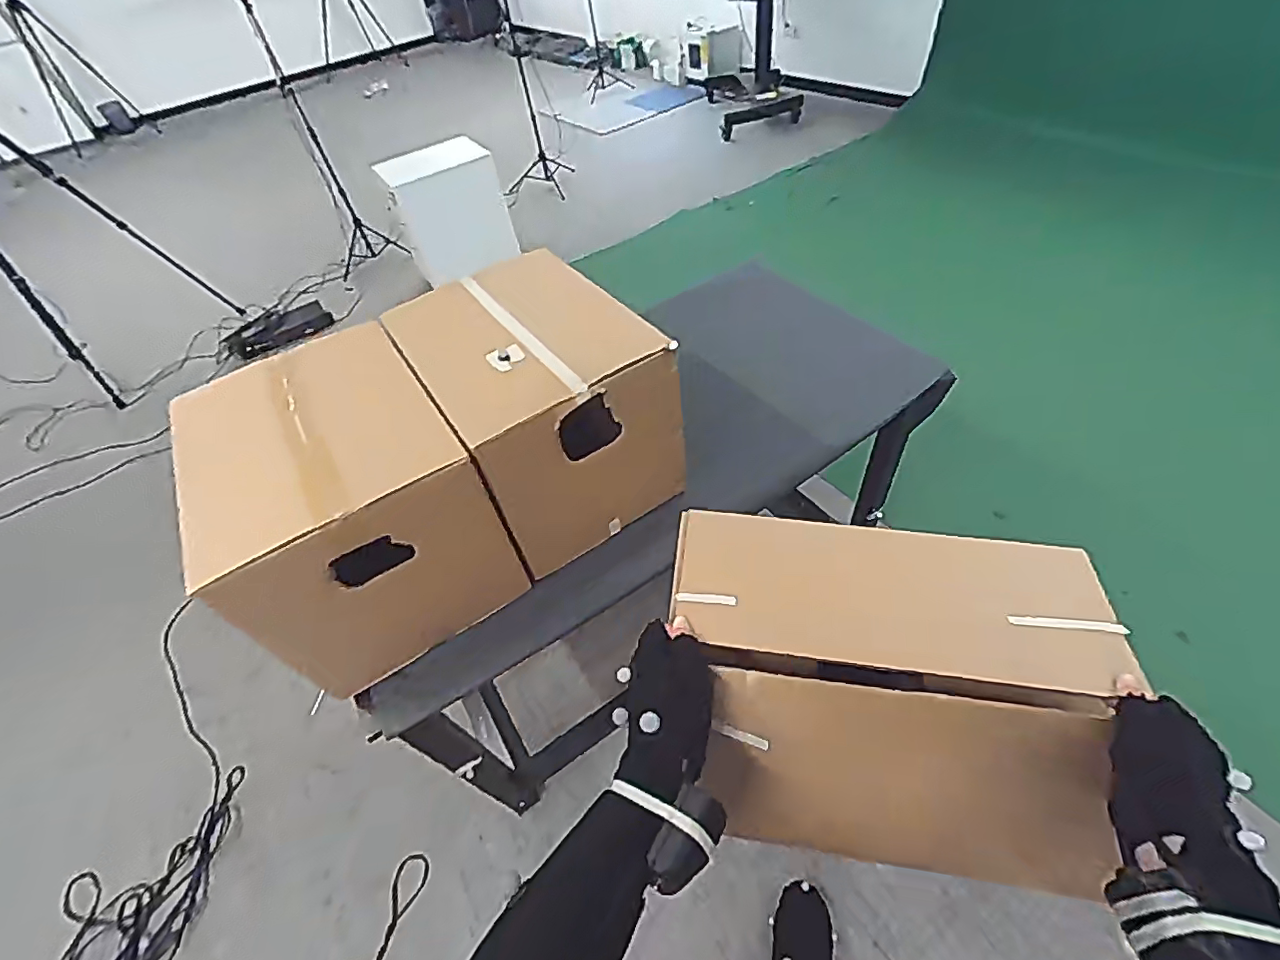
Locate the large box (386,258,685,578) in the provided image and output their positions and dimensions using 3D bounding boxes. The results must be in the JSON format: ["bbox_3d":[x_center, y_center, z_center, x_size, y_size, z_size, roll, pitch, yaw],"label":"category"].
[{"bbox_3d":[-0.166,-0.118,0.928,0.320,0.320,0.408,-32,52,-17],"label":"large box"}]
